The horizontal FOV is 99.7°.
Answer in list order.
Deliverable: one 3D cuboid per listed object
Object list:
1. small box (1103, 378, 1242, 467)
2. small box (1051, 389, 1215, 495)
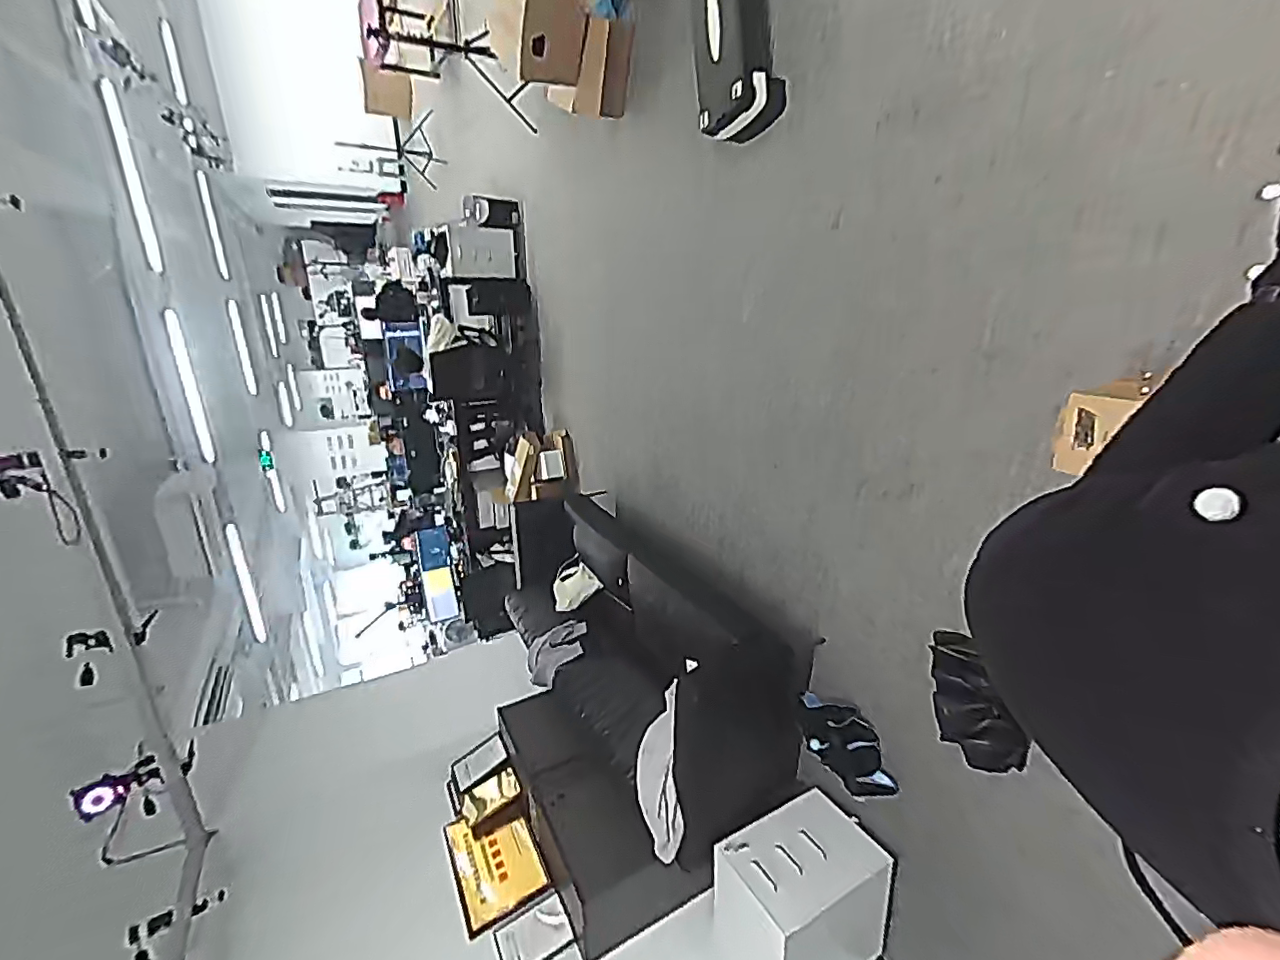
[{"bbox_3d":[1.119,-0.123,1.156,0.179,0.176,0.168,26,124,56],"label":"small box"},{"bbox_3d":[0.978,-0.085,1.080,0.179,0.176,0.168,29,126,56],"label":"small box"}]
